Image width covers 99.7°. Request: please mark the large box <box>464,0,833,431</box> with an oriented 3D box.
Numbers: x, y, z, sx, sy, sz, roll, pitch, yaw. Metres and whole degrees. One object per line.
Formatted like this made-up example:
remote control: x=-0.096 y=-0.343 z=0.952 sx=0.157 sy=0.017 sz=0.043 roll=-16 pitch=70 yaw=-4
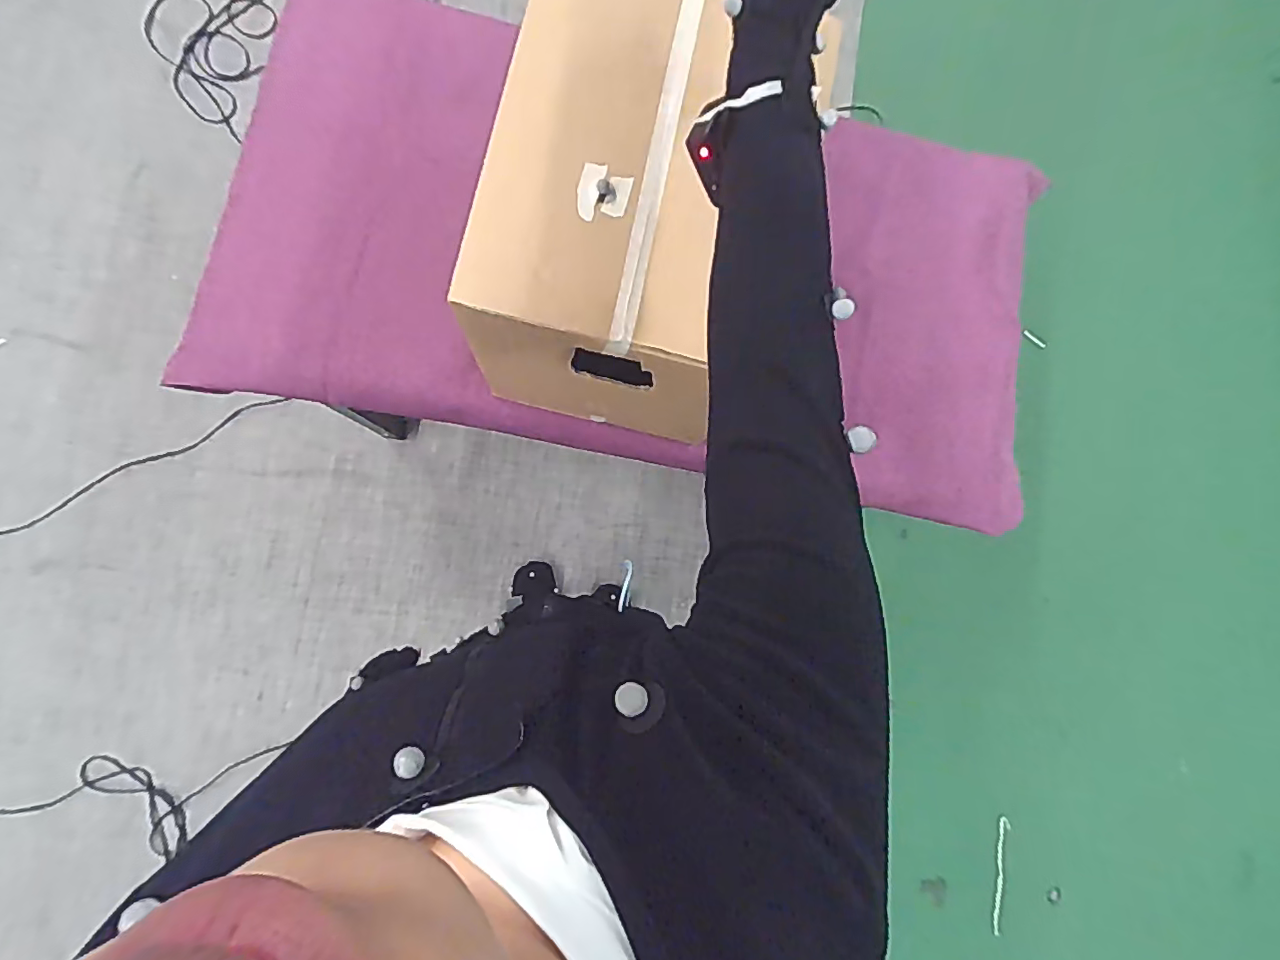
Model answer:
large box: x=0.000 y=-0.311 z=0.680 sx=0.320 sy=0.320 sz=0.408 roll=13 pitch=83 yaw=-7
